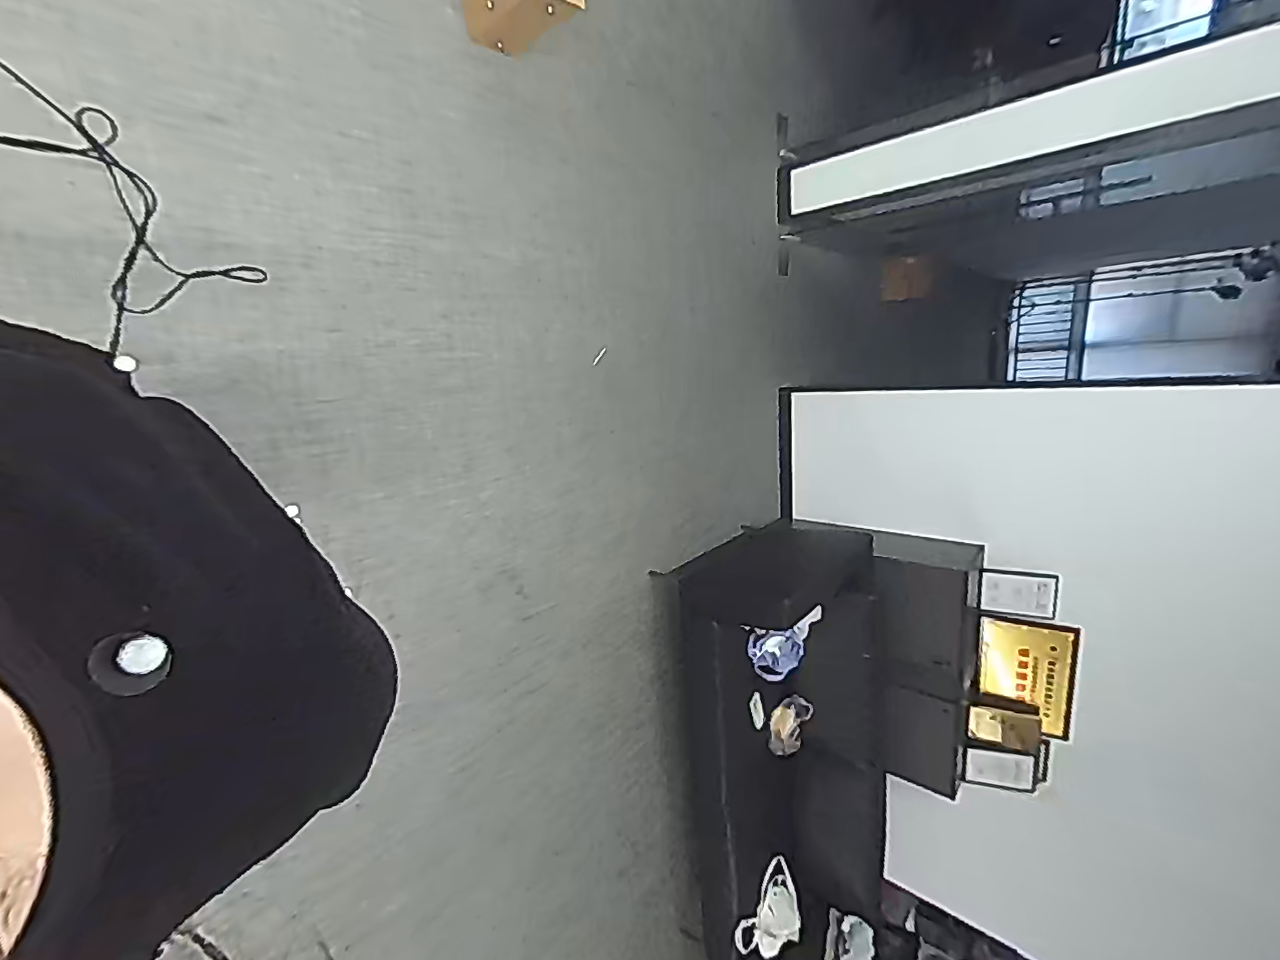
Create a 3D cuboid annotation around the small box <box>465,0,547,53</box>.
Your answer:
[{"bbox_3d":[-0.398,-1.392,1.568,0.168,0.176,0.179,-24,114,-44],"label":"small box"}]

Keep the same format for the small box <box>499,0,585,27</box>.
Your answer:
[{"bbox_3d":[-0.277,-1.369,1.457,0.179,0.176,0.168,-24,114,-45],"label":"small box"}]
